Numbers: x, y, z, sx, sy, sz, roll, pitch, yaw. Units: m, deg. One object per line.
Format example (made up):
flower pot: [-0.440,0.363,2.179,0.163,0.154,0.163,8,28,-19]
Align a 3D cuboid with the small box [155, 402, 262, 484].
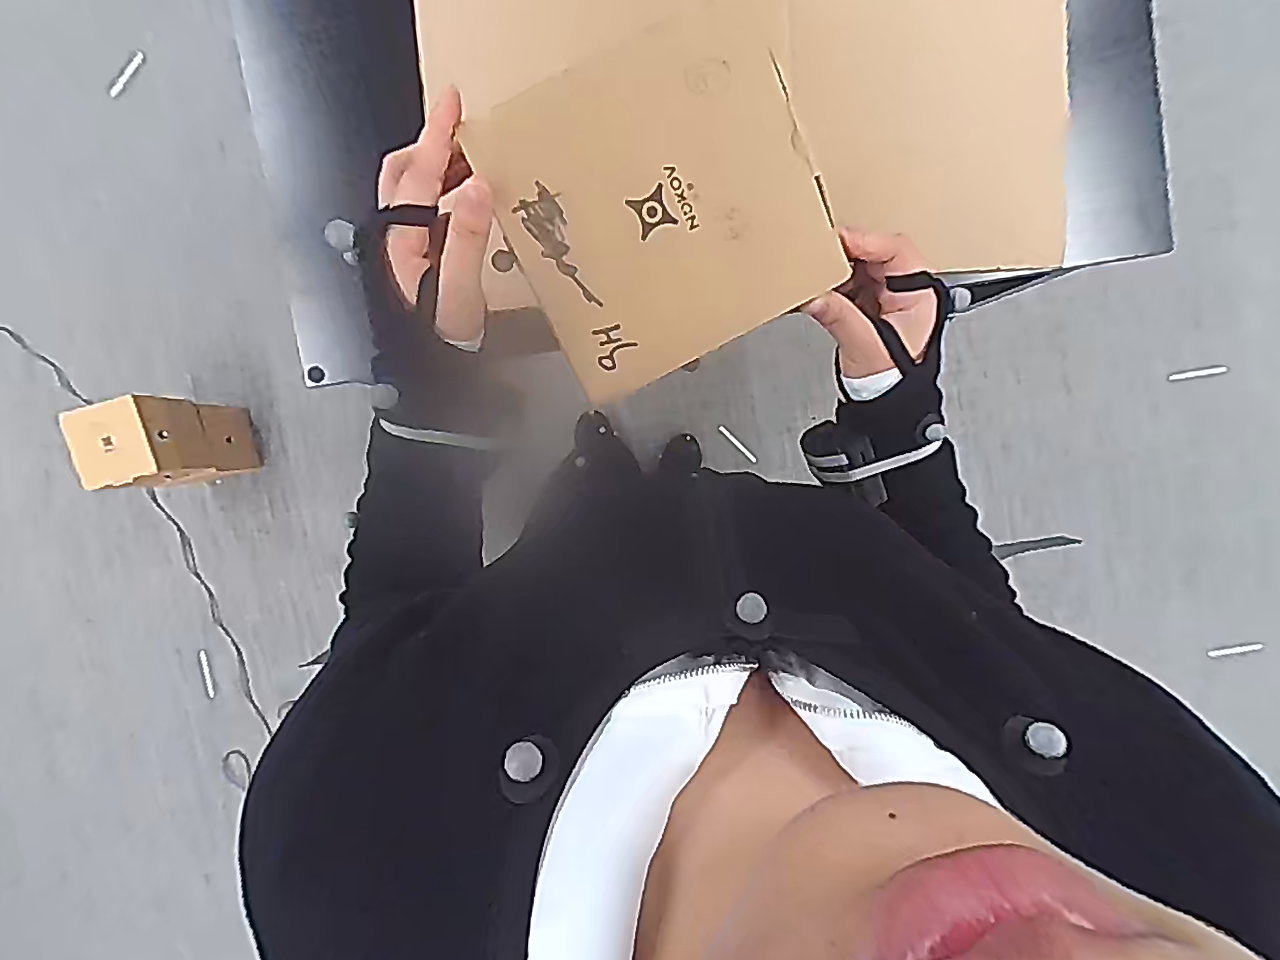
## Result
small box: [-1.130,-0.095,1.399,0.168,0.176,0.179,-13,95,1]

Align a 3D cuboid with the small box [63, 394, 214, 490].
small box: [-1.130,-0.088,1.237,0.168,0.176,0.179,-16,94,0]
